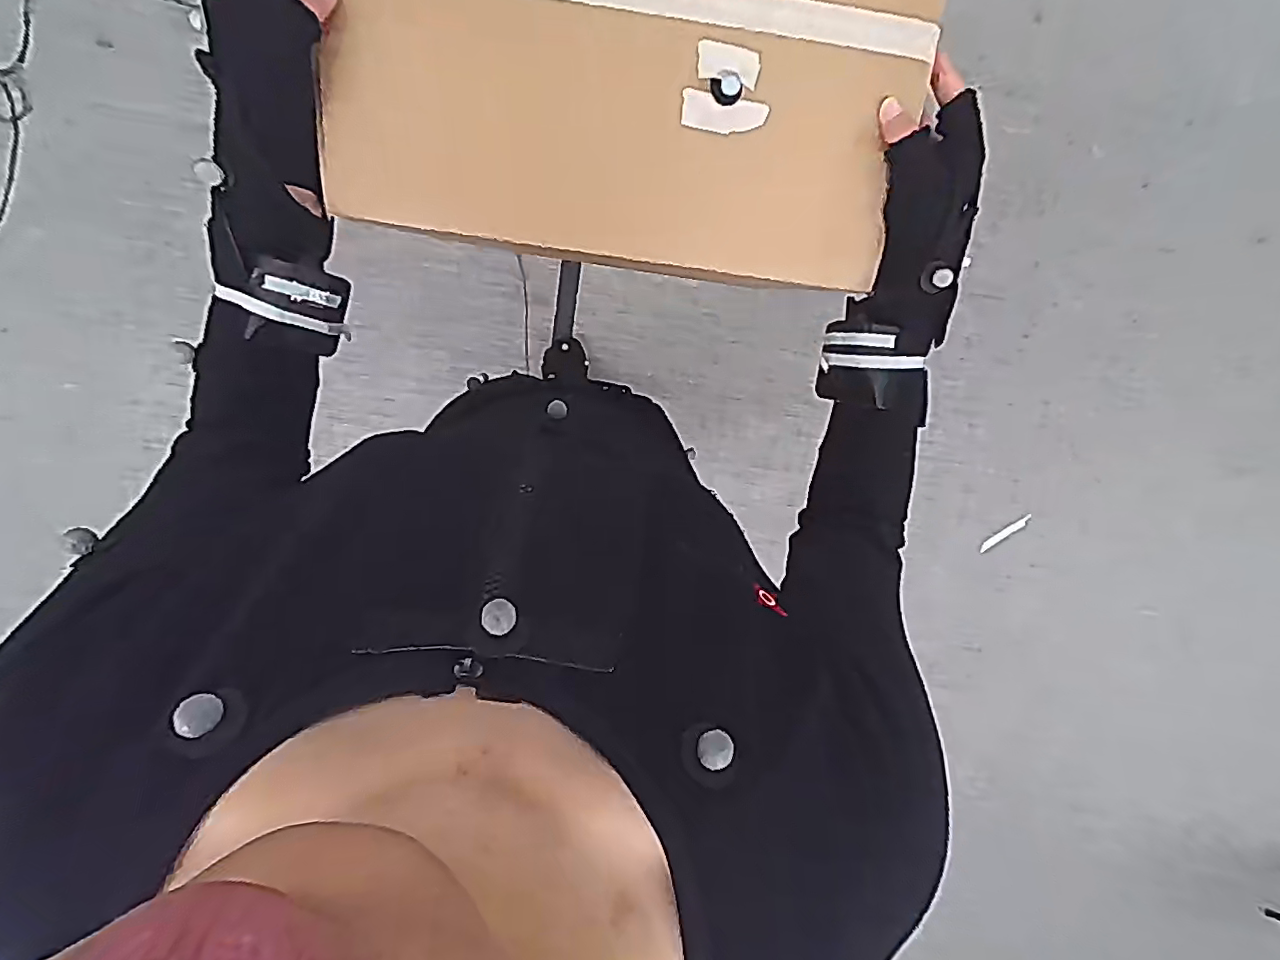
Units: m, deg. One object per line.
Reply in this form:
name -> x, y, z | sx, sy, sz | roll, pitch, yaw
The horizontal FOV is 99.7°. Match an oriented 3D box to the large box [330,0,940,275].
large box -> -0.007, -0.372, 0.490 | 0.408, 0.320, 0.320 | 6, 111, -5
